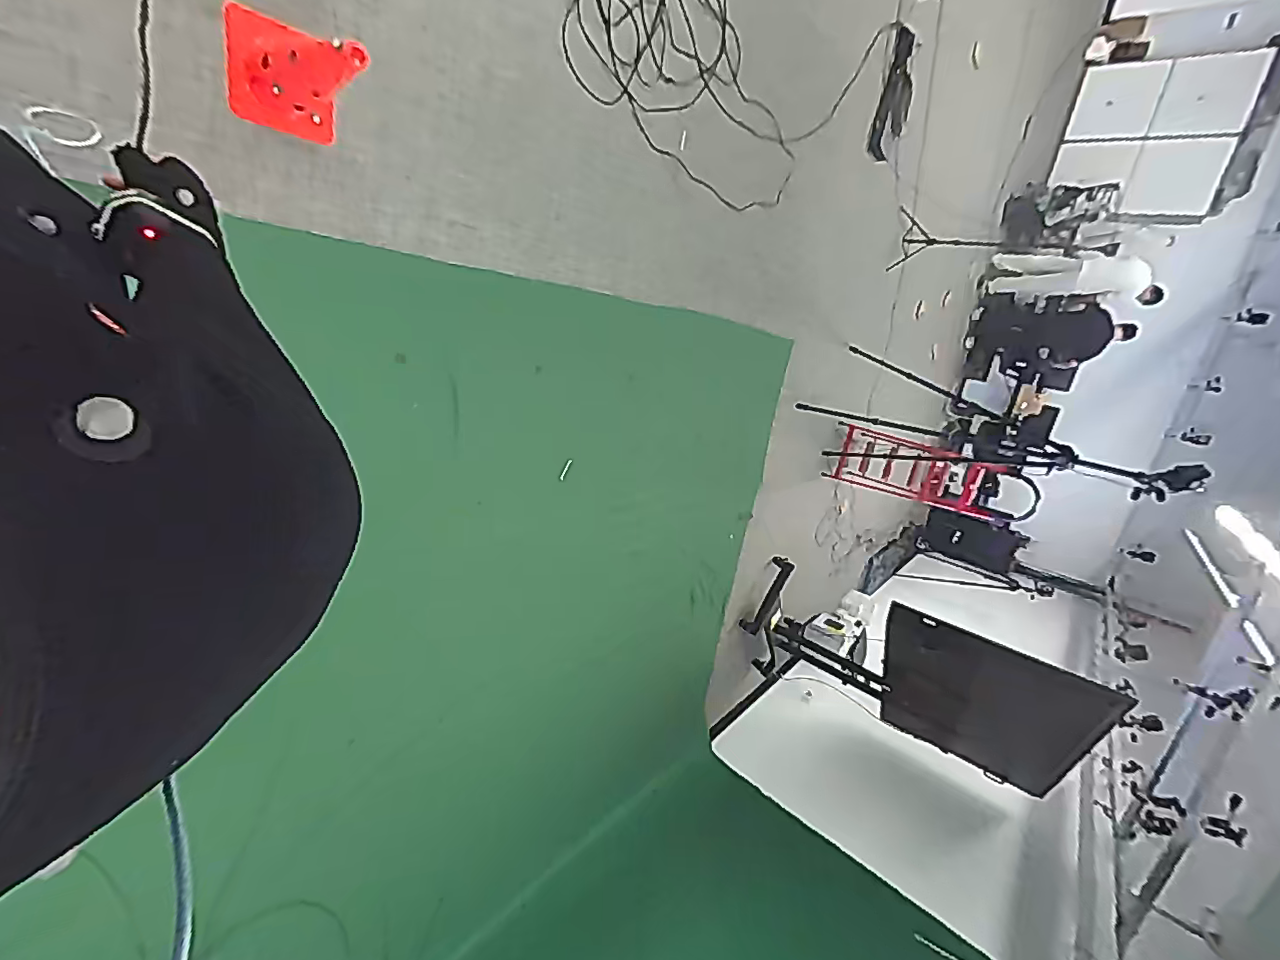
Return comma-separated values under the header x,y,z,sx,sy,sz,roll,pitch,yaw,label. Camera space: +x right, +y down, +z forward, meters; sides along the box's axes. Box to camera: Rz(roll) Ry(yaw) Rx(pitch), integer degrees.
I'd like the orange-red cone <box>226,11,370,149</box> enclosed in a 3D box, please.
x,y,z,sx,sy,sz,roll,pitch,yaw,label
-0.624,-0.788,1.045,0.198,0.360,0.199,-10,115,-50,orange-red cone
